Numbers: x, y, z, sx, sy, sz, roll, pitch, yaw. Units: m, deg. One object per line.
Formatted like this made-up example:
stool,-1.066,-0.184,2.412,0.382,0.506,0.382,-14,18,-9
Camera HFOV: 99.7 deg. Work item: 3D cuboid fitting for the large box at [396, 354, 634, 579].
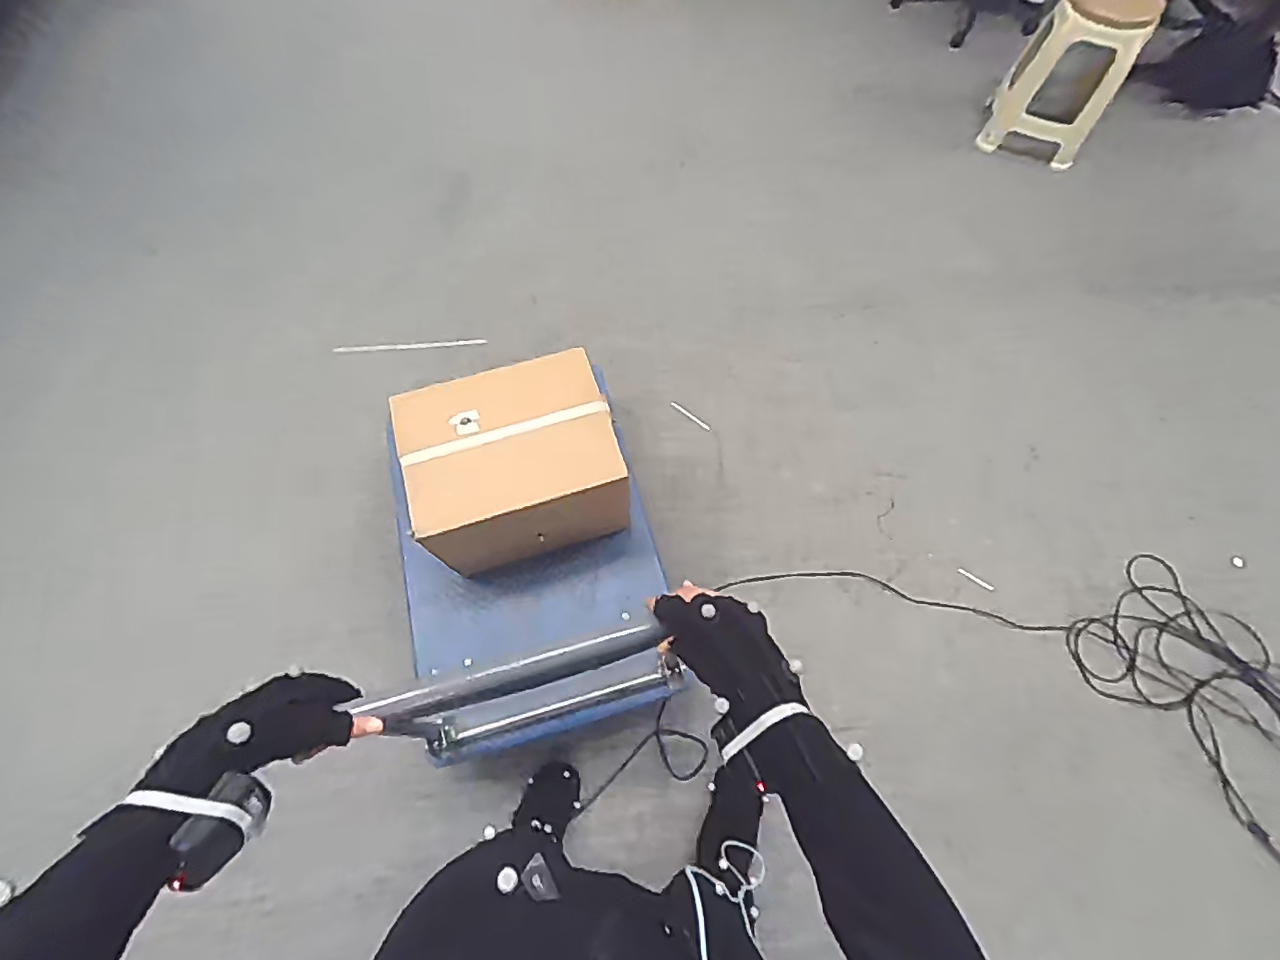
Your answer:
large box,-0.250,-0.015,1.187,0.408,0.320,0.320,-18,68,-7
